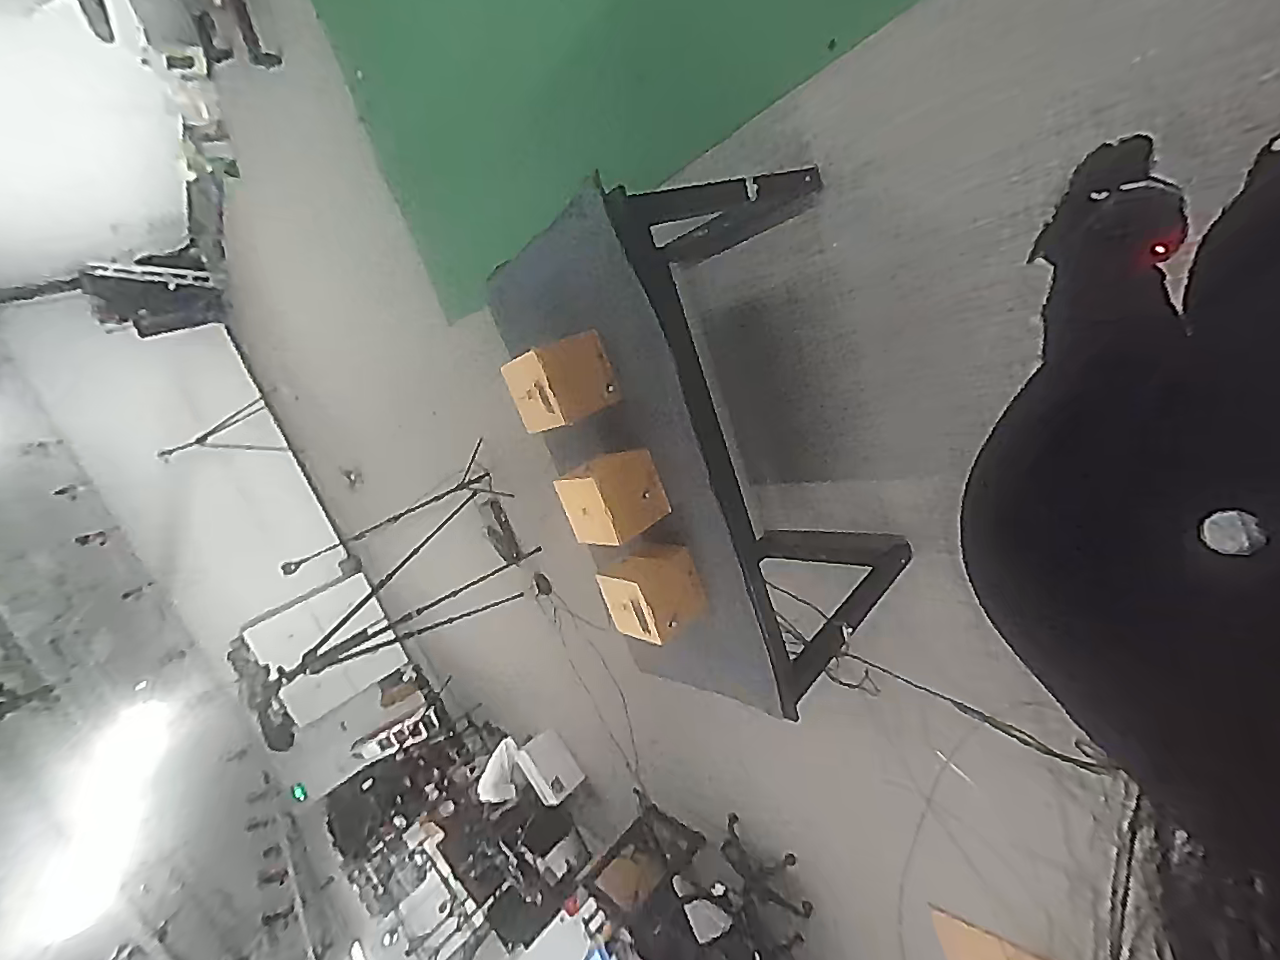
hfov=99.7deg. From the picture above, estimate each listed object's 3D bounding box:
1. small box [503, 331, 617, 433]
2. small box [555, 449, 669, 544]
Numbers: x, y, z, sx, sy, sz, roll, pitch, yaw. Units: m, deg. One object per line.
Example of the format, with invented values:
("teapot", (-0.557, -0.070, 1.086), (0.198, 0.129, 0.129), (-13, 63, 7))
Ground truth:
("small box", (-0.171, -0.220, 1.214), (0.179, 0.176, 0.168), (-5, 110, 52))
("small box", (-0.063, 0.036, 1.264), (0.179, 0.176, 0.168), (-5, 109, 51))
